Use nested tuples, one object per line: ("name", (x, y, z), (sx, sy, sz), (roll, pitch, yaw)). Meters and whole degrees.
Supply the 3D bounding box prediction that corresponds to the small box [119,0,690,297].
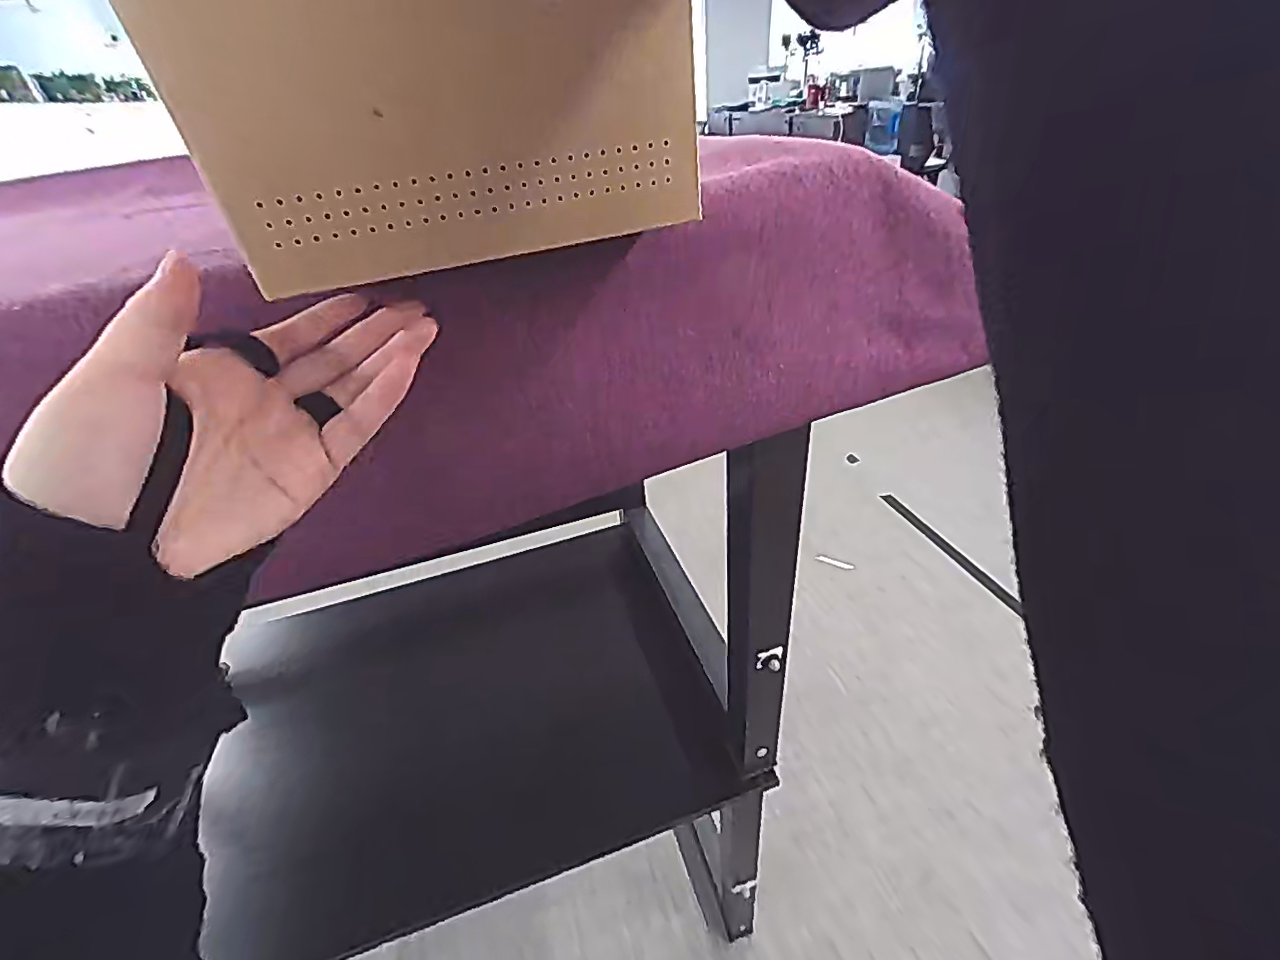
("small box", (-0.084, -0.194, 0.226), (0.179, 0.176, 0.168), (-15, 36, -10))
